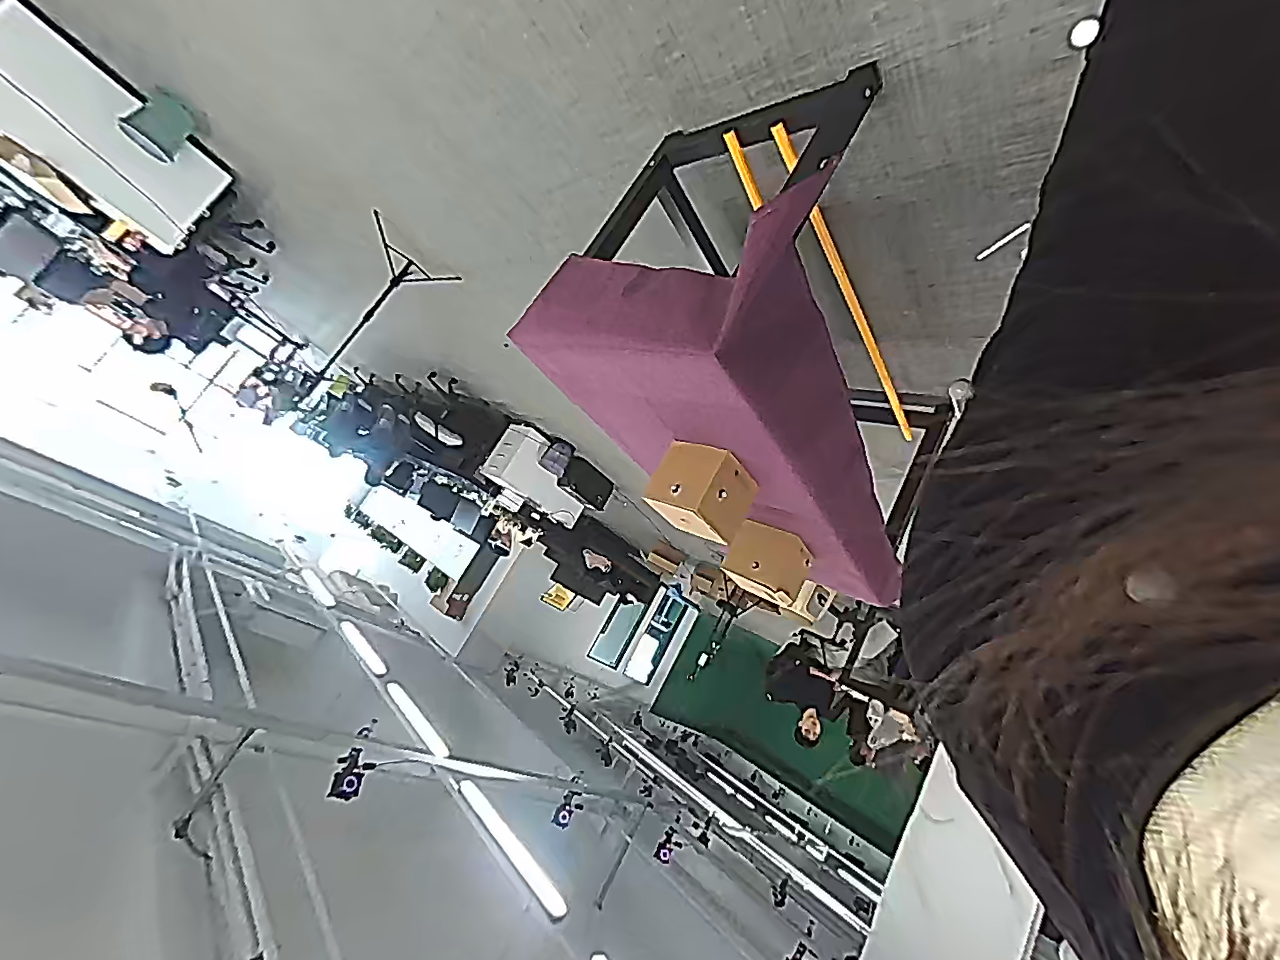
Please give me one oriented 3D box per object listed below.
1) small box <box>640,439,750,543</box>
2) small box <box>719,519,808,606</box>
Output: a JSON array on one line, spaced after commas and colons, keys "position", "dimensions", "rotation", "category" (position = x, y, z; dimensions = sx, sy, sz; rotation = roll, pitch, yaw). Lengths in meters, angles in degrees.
[{"position": [0.139, 0.021, 1.274], "dimensions": [0.179, 0.176, 0.168], "rotation": [16, 161, 45], "category": "small box"}, {"position": [0.365, 0.233, 1.562], "dimensions": [0.179, 0.176, 0.168], "rotation": [18, 162, 42], "category": "small box"}]
